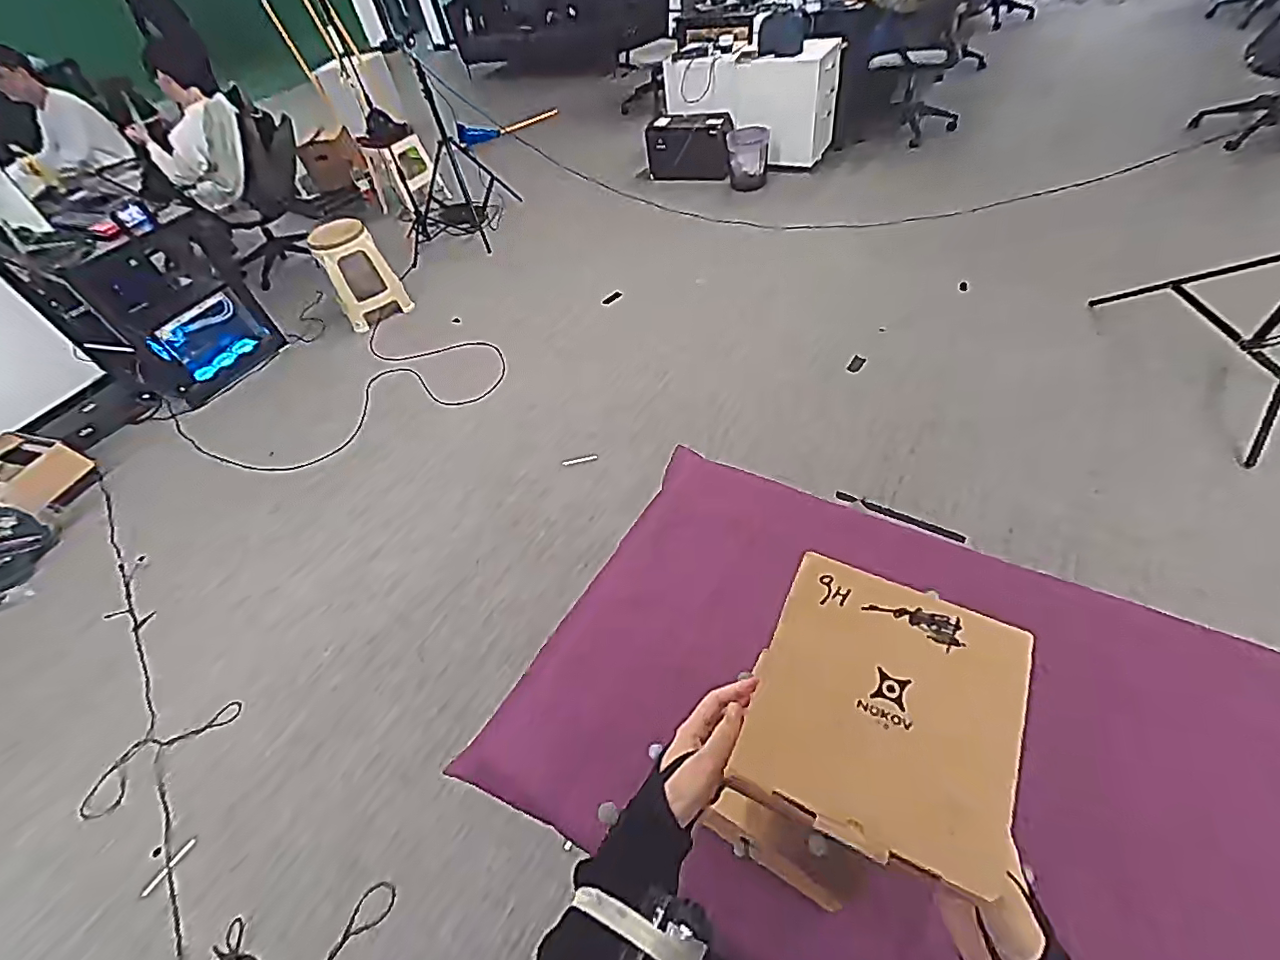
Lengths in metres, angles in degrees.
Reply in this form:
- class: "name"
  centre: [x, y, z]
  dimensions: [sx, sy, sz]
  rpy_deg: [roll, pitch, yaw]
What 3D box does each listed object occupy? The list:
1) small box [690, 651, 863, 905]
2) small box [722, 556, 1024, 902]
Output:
- class: "small box"
  centre: [0.174, 0.336, 0.609]
  dimensions: [0.168, 0.176, 0.179]
  rpy_deg: [22, 56, 26]
- class: "small box"
  centre: [0.176, 0.197, 0.447]
  dimensions: [0.168, 0.176, 0.179]
  rpy_deg: [20, 63, 18]
